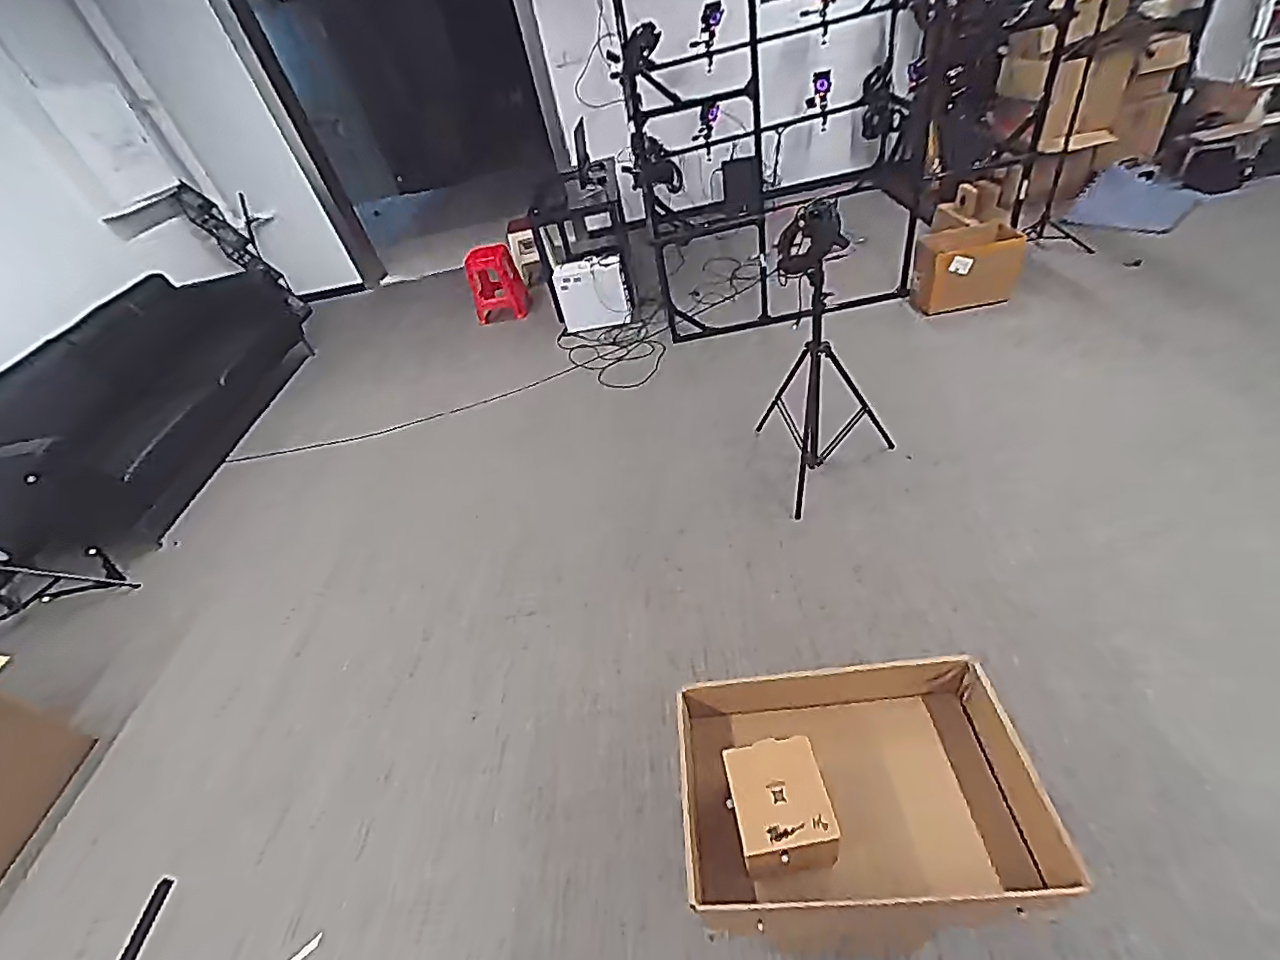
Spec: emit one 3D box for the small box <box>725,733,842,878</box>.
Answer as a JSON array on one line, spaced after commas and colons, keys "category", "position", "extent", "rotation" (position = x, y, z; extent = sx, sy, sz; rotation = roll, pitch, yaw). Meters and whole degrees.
[{"category": "small box", "position": [0.263, 0.611, 1.015], "extent": [0.168, 0.176, 0.179], "rotation": [-13, 41, 3]}]
